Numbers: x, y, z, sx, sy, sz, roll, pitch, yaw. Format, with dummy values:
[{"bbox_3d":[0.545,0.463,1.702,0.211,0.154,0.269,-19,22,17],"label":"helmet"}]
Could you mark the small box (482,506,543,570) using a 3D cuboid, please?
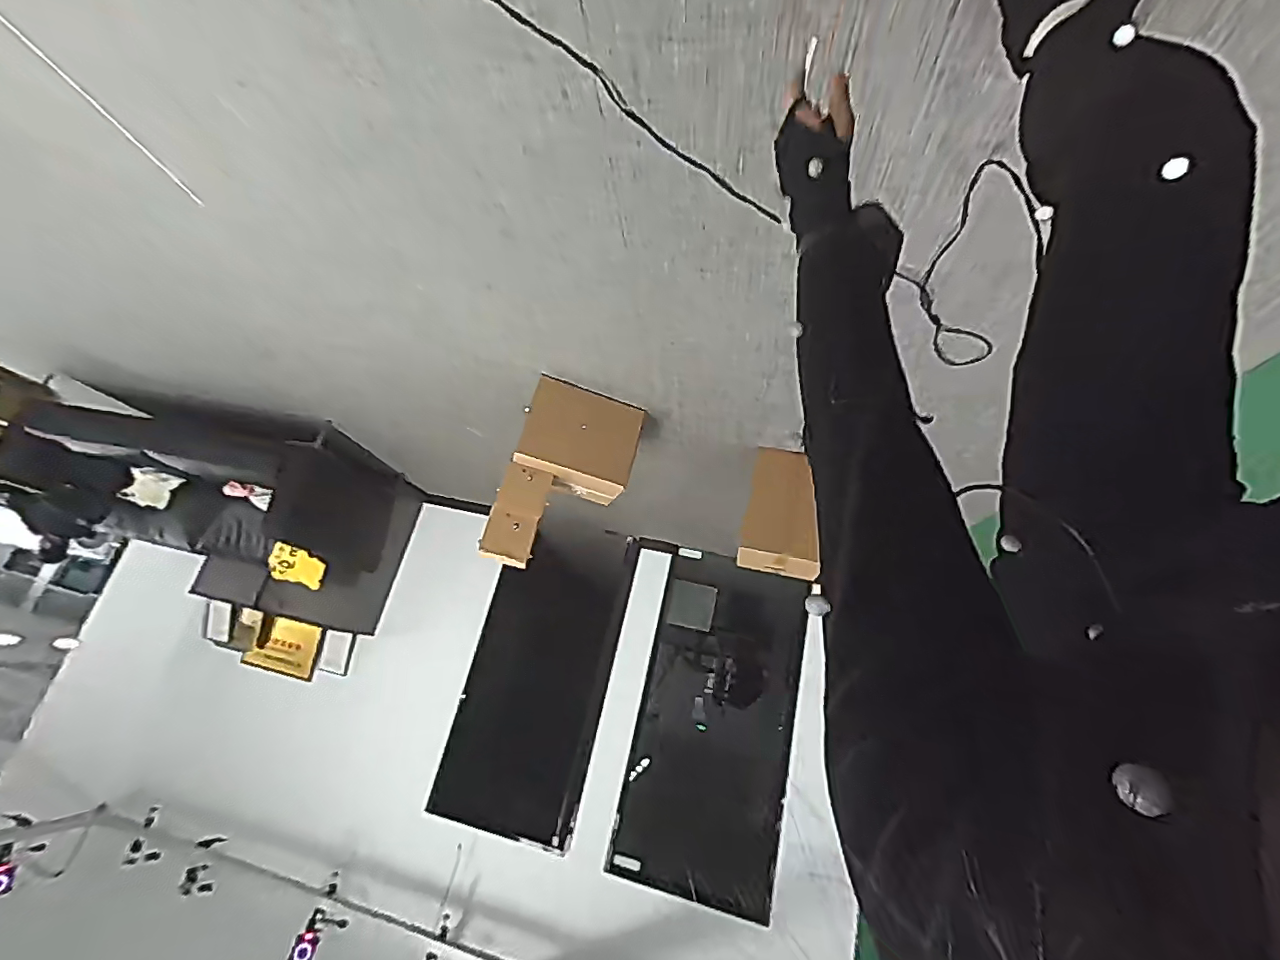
[{"bbox_3d":[-0.447,0.206,1.910,0.168,0.176,0.179,17,161,-7],"label":"small box"}]
